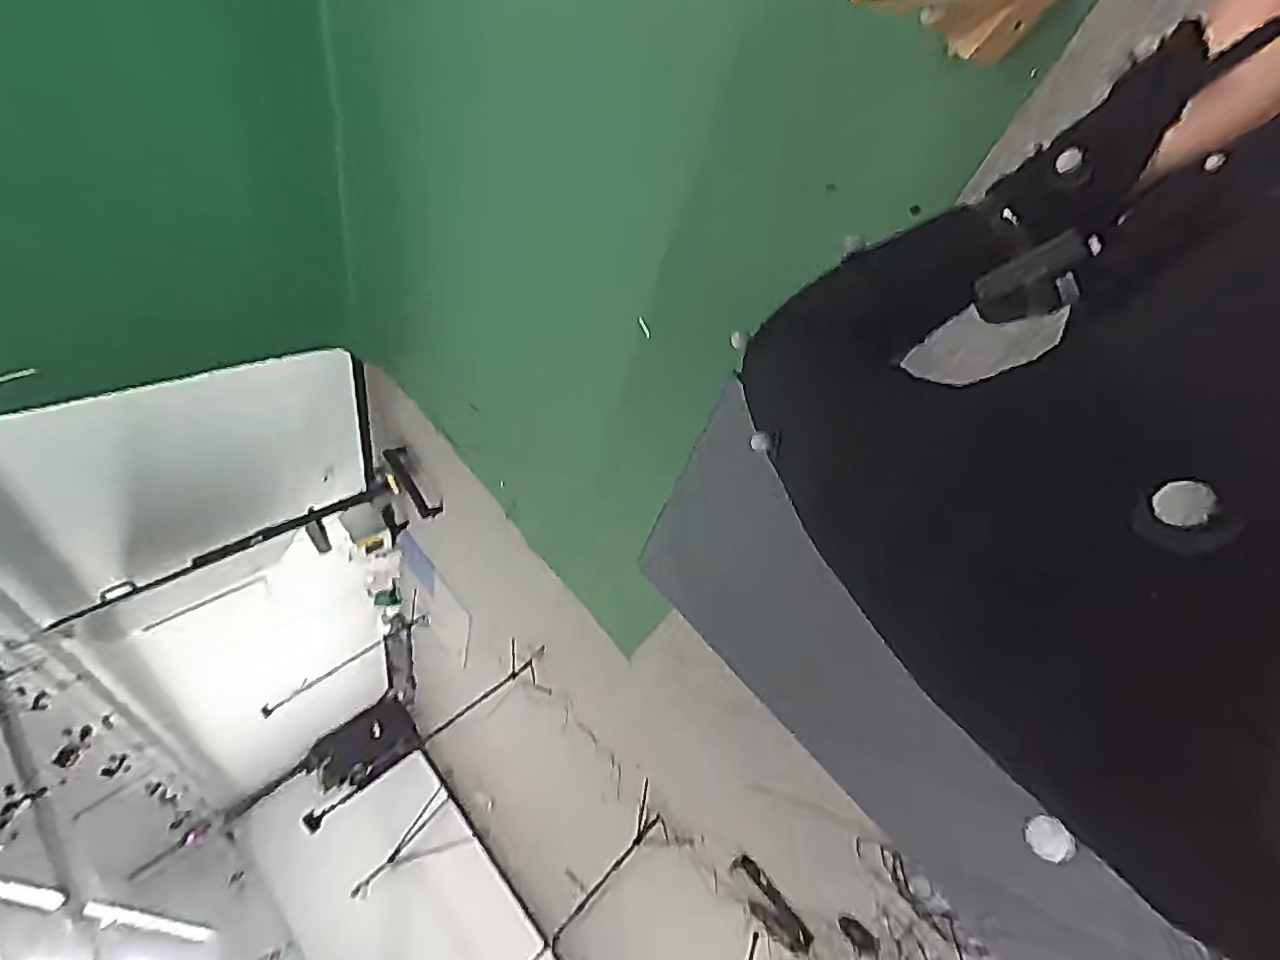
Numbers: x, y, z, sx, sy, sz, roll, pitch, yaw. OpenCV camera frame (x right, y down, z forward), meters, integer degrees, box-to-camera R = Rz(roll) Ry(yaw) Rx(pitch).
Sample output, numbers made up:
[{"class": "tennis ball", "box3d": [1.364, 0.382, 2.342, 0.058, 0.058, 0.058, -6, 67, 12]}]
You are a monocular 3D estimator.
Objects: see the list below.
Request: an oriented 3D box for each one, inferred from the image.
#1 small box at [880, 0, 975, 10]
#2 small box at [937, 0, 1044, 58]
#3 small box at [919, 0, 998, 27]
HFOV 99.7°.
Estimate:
[{"class": "small box", "box3d": [0.423, -0.796, 0.758, 0.168, 0.176, 0.179, 25, 130, 34]}, {"class": "small box", "box3d": [0.632, -0.910, 0.981, 0.179, 0.176, 0.168, 55, 140, 7]}, {"class": "small box", "box3d": [0.536, -0.864, 0.855, 0.168, 0.176, 0.179, -11, 104, 48]}]
